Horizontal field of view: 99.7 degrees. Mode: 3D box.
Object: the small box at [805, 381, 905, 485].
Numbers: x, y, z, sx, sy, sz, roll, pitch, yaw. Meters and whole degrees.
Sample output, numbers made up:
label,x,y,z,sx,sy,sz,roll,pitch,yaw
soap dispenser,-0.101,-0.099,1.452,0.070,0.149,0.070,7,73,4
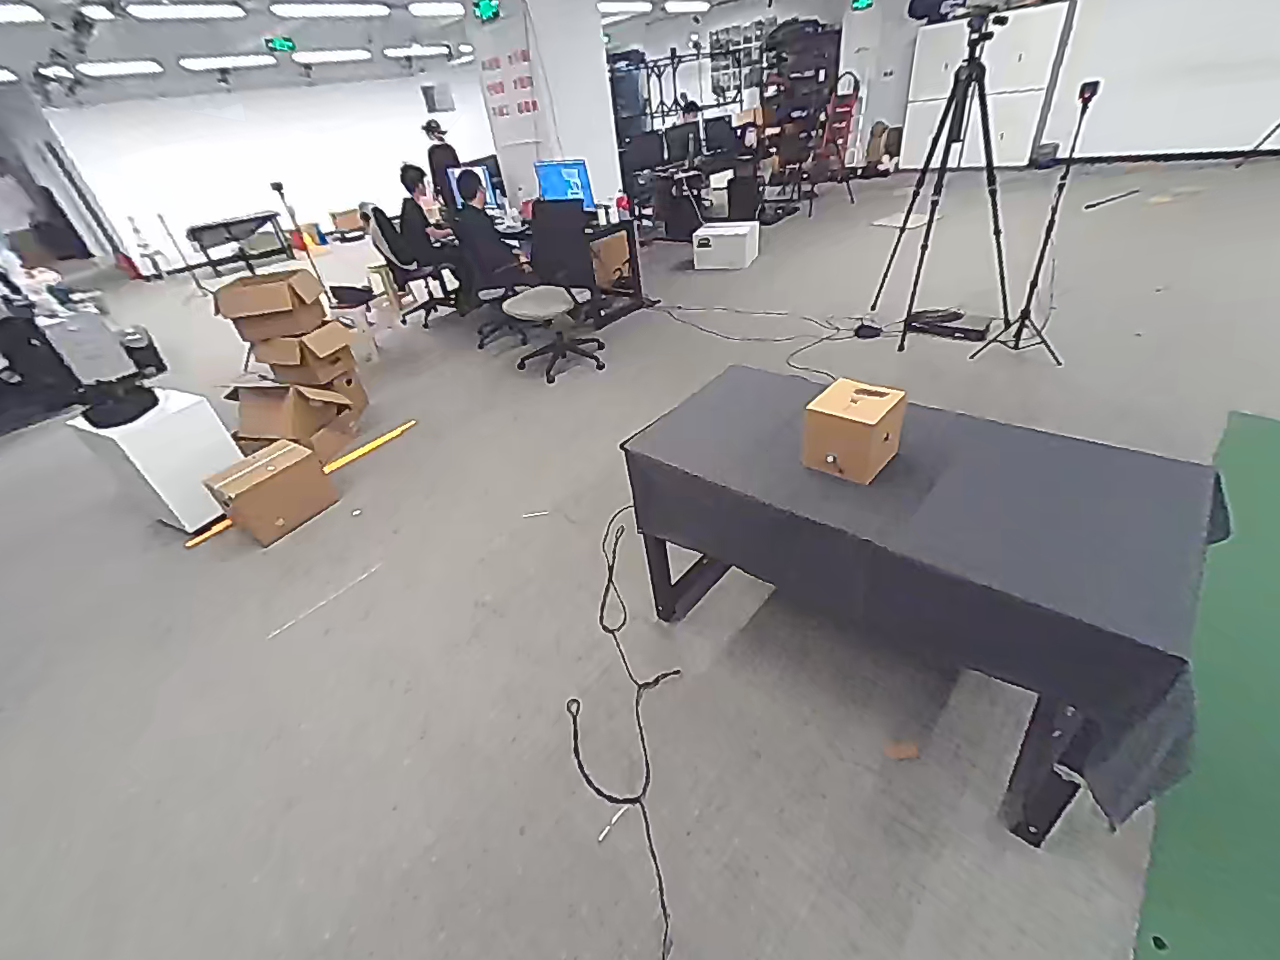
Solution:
label,x,y,z,sx,sy,sz,roll,pitch,yaw
small box,0.509,-0.115,1.301,0.168,0.176,0.179,23,46,38
